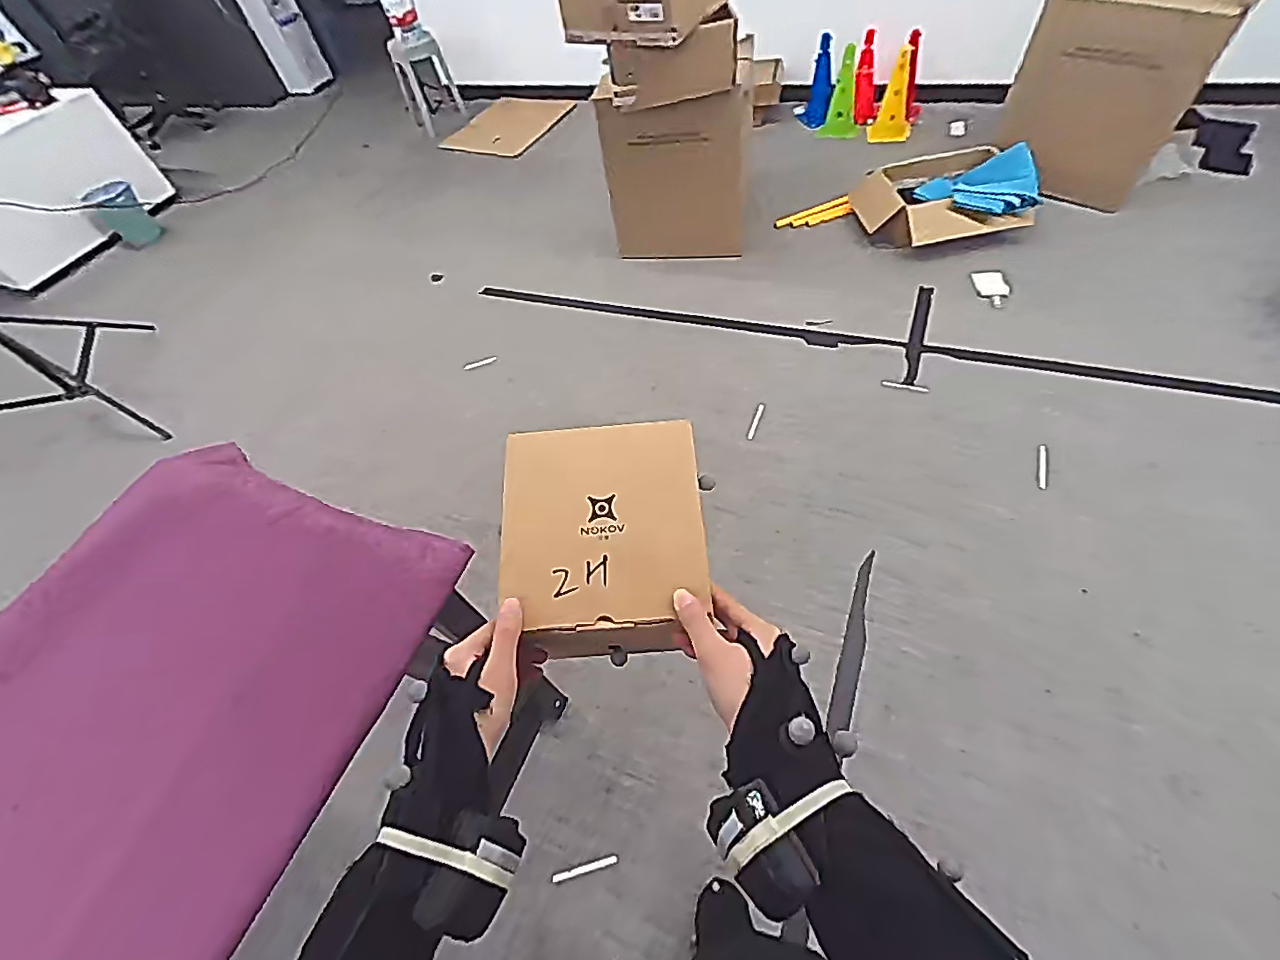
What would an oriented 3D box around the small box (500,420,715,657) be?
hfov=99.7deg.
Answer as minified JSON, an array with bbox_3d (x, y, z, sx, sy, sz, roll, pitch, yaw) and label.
[{"bbox_3d":[-0.024,0.064,0.514,0.168,0.176,0.179,-5,65,3],"label":"small box"}]
